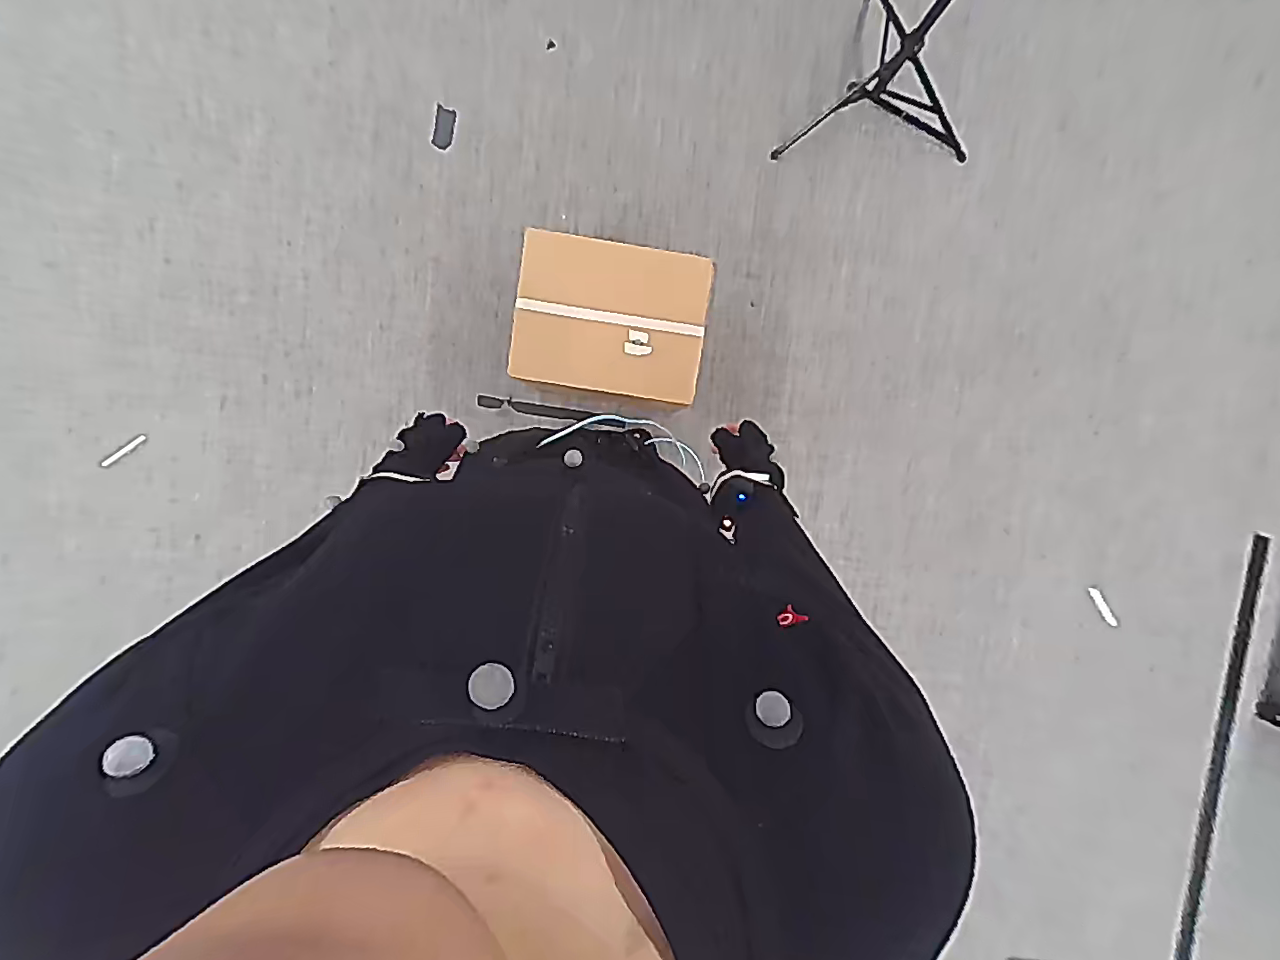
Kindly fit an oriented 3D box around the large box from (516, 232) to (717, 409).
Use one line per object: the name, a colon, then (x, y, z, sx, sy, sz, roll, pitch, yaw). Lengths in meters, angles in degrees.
large box: (-0.058, -0.358, 1.305, 0.408, 0.320, 0.320, 9, 95, -3)
